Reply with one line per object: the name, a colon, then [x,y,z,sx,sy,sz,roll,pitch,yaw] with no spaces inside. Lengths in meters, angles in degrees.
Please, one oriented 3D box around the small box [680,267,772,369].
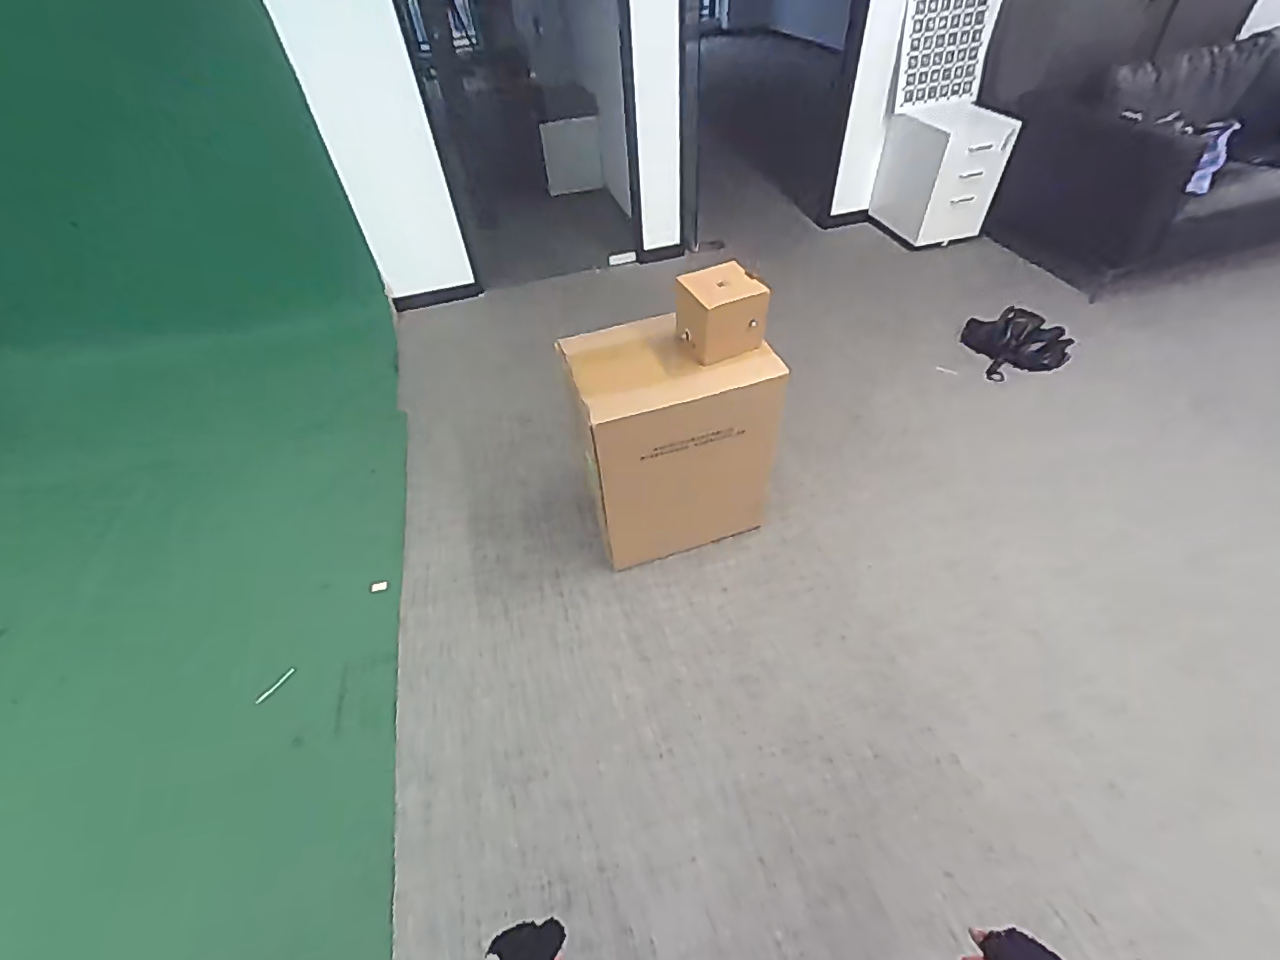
small box: [0.215,-0.418,1.404,0.179,0.176,0.168,-23,51,-14]
